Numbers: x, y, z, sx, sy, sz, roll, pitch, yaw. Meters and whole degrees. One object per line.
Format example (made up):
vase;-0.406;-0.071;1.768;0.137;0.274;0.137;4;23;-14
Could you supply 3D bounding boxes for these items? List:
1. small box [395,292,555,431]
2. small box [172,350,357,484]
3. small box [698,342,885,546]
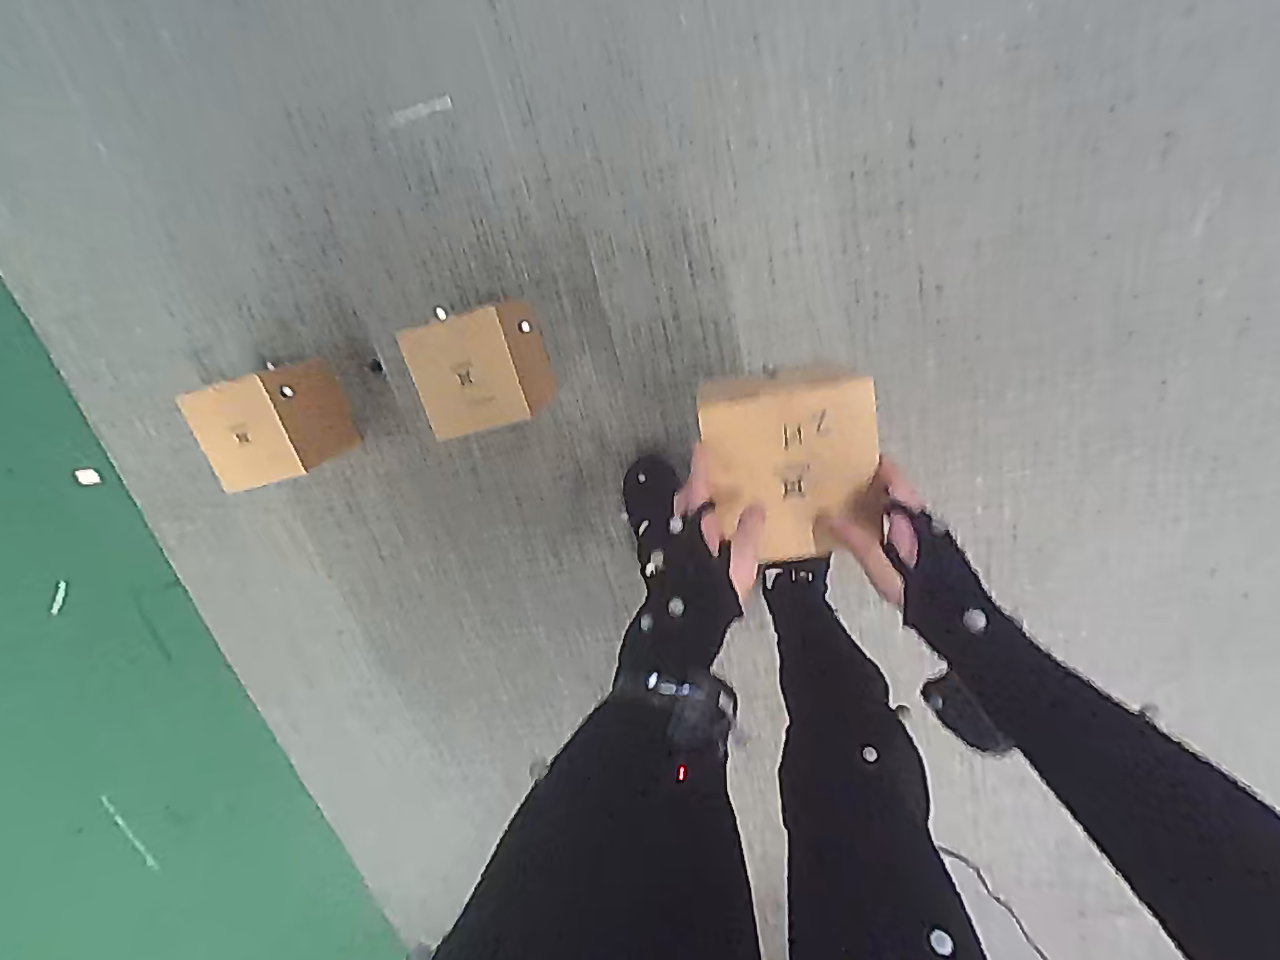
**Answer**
small box;-0.252;-0.197;0.873;0.168;0.176;0.179;-12;110;10
small box;-0.636;-0.115;0.945;0.168;0.176;0.179;-12;108;11
small box;0.161;-0.047;0.604;0.168;0.176;0.179;-9;107;9
